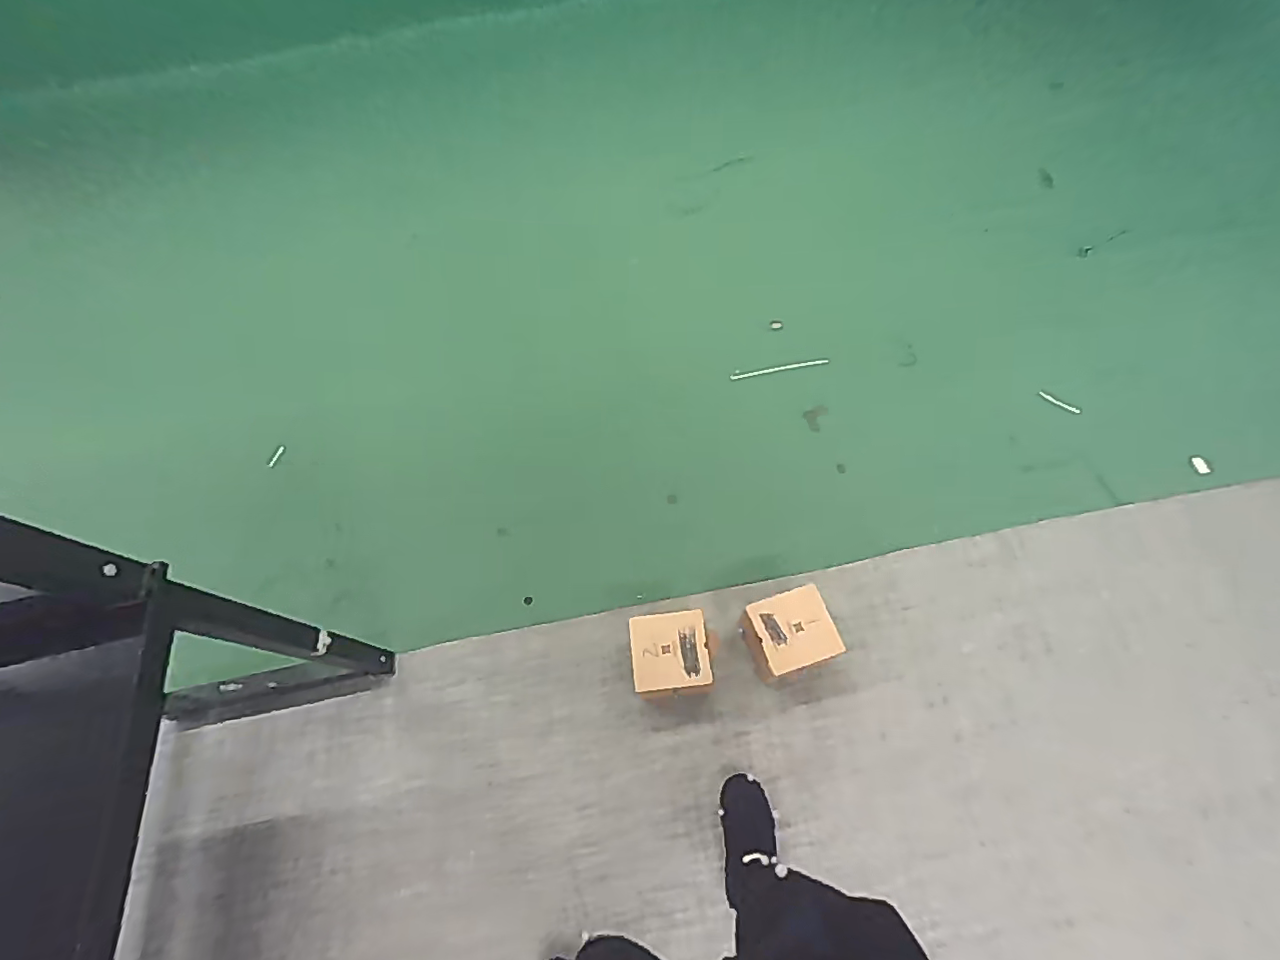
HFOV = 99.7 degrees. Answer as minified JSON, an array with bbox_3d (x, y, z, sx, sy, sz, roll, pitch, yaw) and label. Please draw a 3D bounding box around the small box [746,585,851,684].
[{"bbox_3d":[0.360,0.370,1.274,0.179,0.176,0.168,-17,64,-5],"label":"small box"}]
